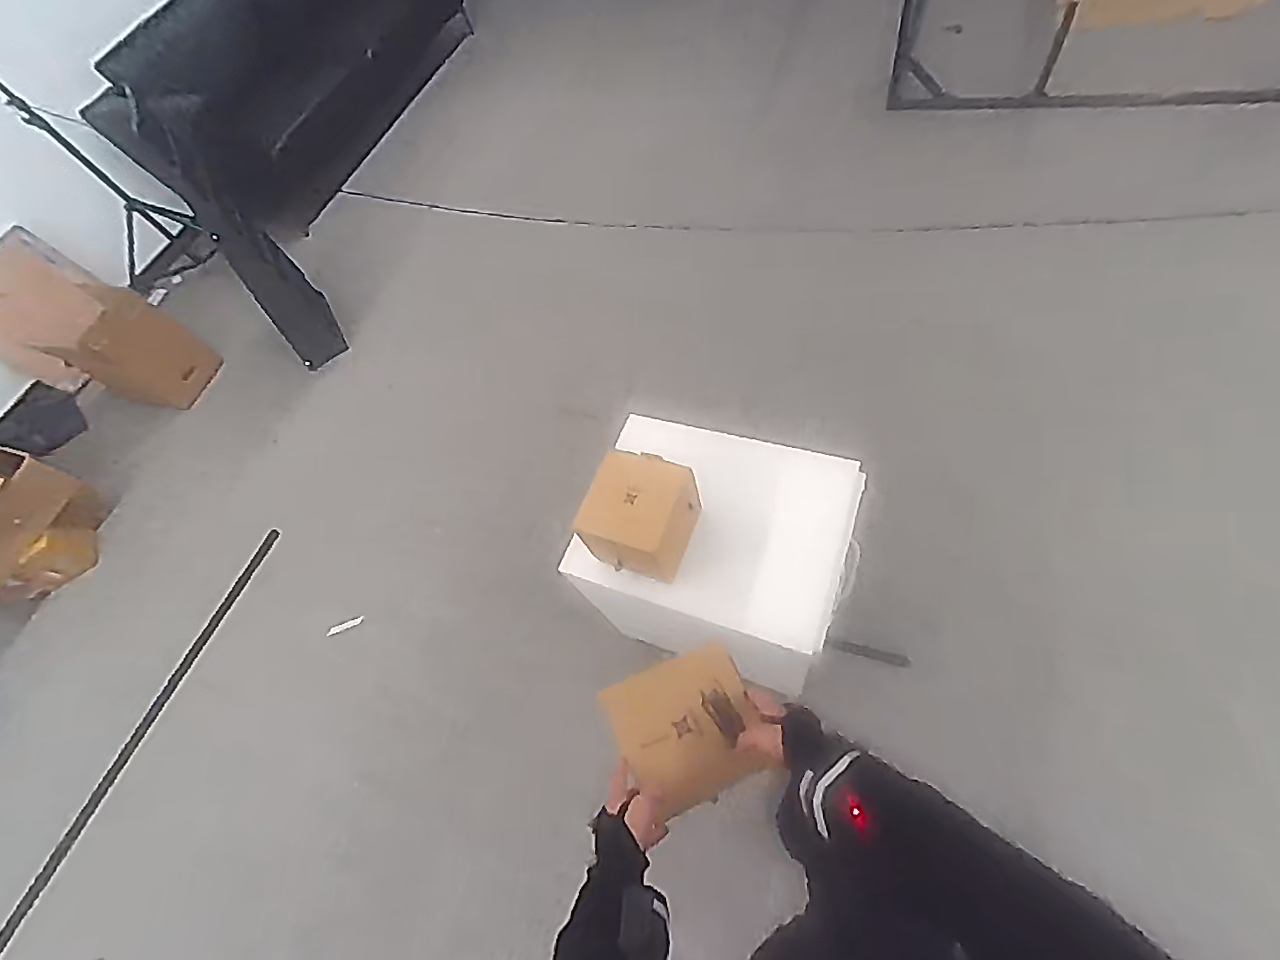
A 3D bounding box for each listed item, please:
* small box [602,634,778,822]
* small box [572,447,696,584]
[{"bbox_3d":[0.062,0.335,0.750,0.179,0.176,0.168,-24,66,-8],"label":"small box"},{"bbox_3d":[0.000,0.070,1.013,0.168,0.176,0.179,15,66,21],"label":"small box"}]
